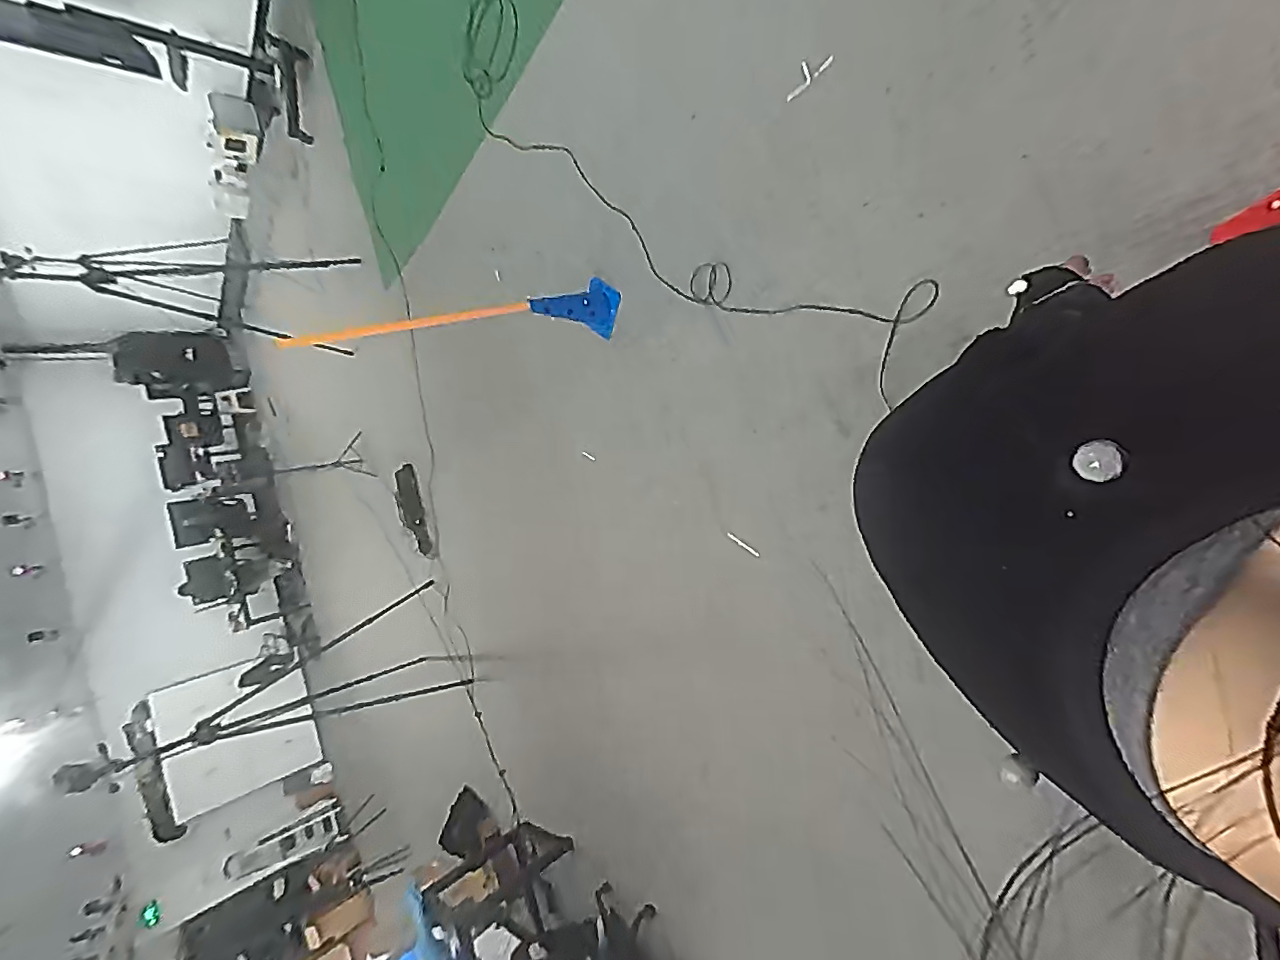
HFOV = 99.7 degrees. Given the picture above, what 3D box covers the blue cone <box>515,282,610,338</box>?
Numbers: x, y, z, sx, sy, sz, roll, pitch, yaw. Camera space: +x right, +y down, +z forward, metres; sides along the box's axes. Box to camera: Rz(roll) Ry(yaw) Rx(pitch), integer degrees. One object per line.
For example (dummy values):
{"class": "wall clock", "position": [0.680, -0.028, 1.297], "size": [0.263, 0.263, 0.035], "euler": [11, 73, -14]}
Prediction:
{"class": "blue cone", "position": [-0.314, -0.667, 2.113], "size": [0.192, 0.380, 0.193], "euler": [40, 127, 32]}
